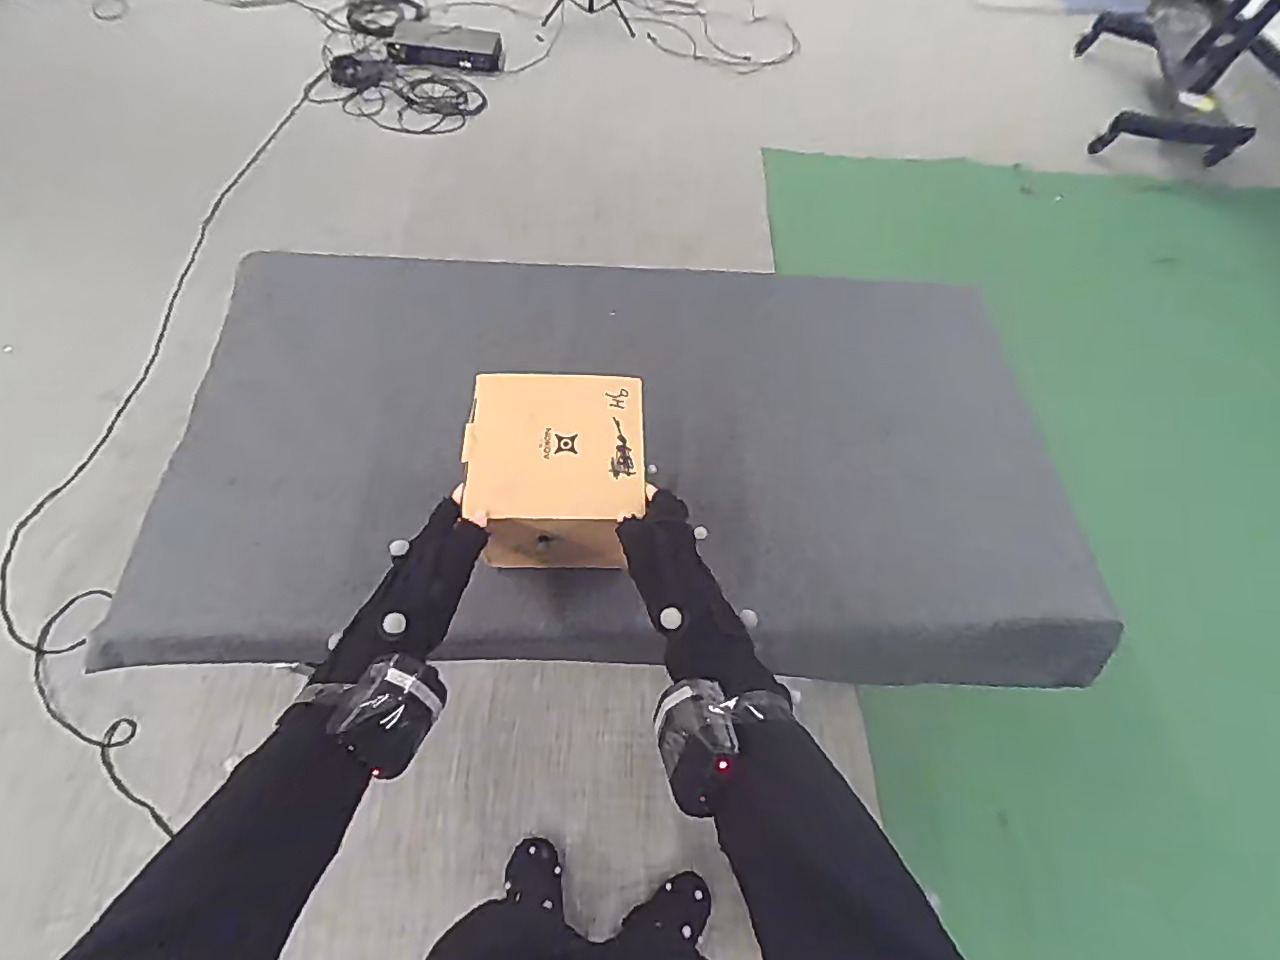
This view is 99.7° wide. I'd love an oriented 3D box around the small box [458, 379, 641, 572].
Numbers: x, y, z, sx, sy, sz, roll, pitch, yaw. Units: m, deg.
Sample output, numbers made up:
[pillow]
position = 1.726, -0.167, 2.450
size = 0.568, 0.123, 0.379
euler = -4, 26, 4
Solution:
[small box]
position = -0.091, 0.004, 0.616
size = 0.179, 0.176, 0.168
euler = 2, 65, -4
